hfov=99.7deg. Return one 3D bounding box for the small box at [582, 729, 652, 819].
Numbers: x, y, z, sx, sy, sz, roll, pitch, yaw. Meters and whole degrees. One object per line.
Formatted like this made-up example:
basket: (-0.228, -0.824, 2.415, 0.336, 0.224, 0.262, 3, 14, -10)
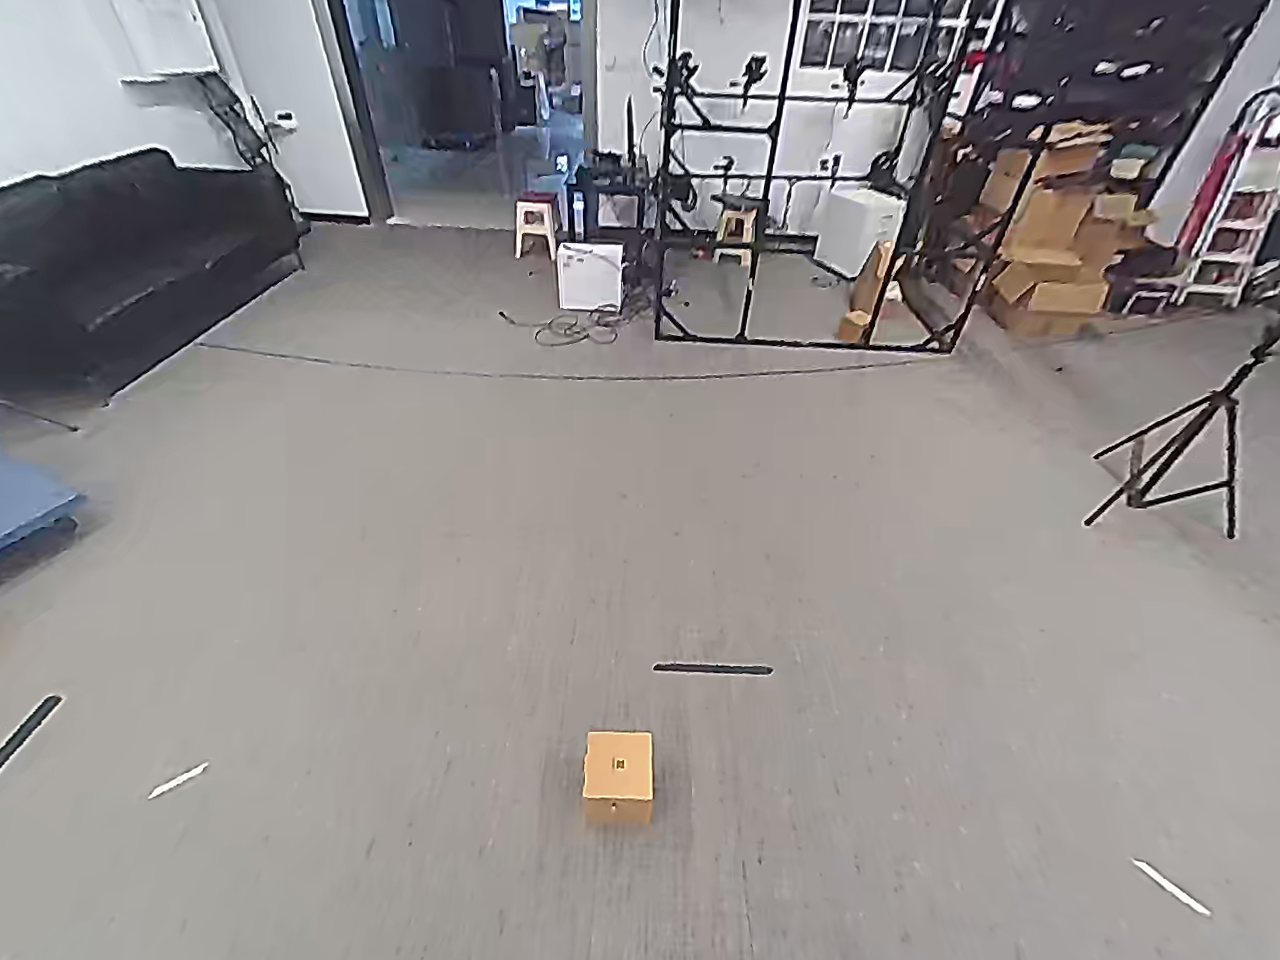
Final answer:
small box: (-0.059, 0.791, 1.452, 0.179, 0.176, 0.168, 1, 40, 0)
